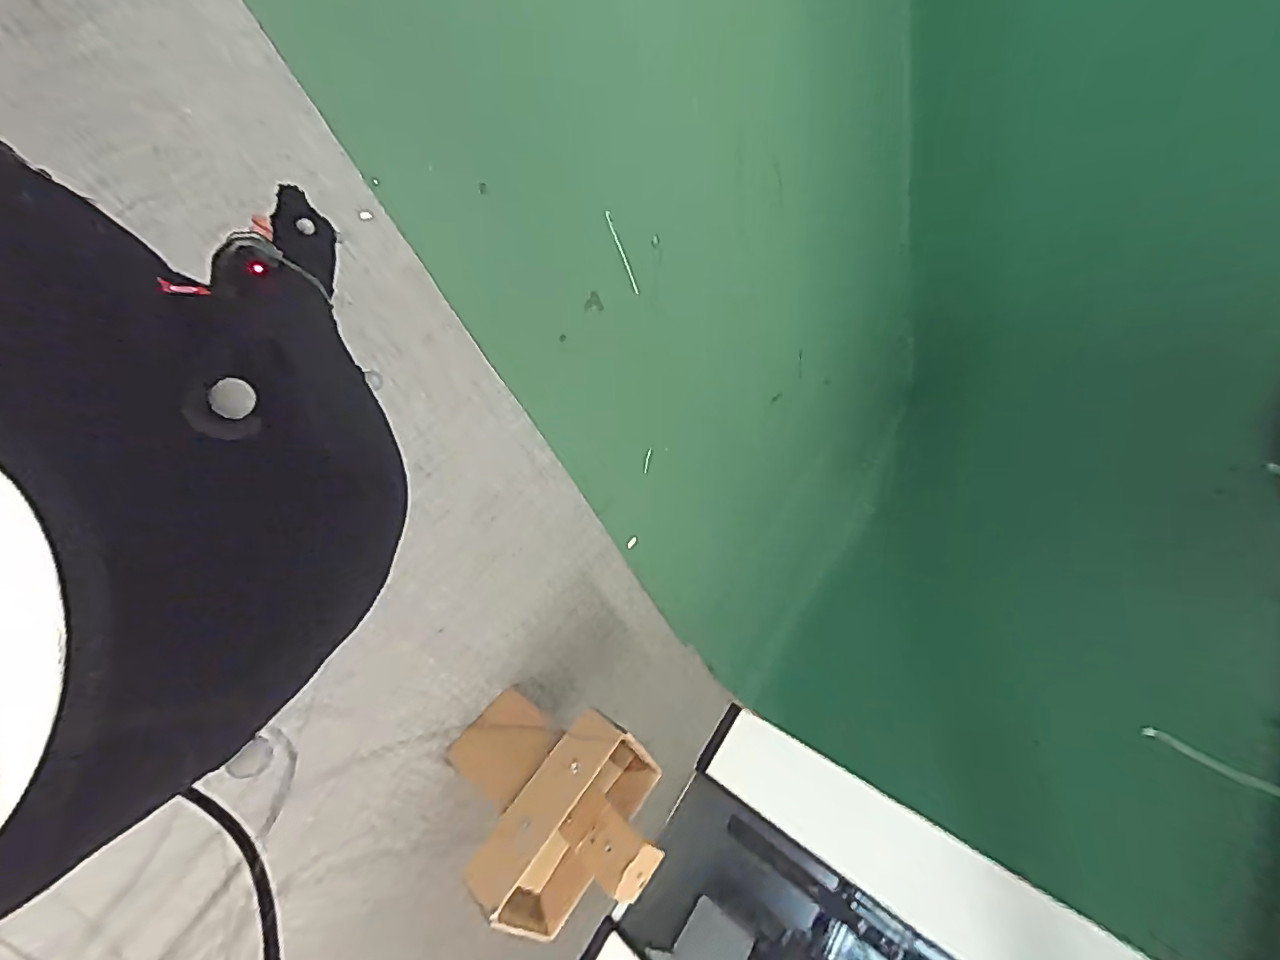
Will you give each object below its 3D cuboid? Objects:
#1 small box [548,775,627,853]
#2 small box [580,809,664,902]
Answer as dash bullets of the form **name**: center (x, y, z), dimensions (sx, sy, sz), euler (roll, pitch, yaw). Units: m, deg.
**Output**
- **small box**: center (-0.176, 1.120, 1.801), dimensions (0.168, 0.176, 0.179), euler (-47, 137, -22)
- **small box**: center (-0.059, 1.174, 1.699), dimensions (0.168, 0.176, 0.179), euler (-49, 135, -20)
